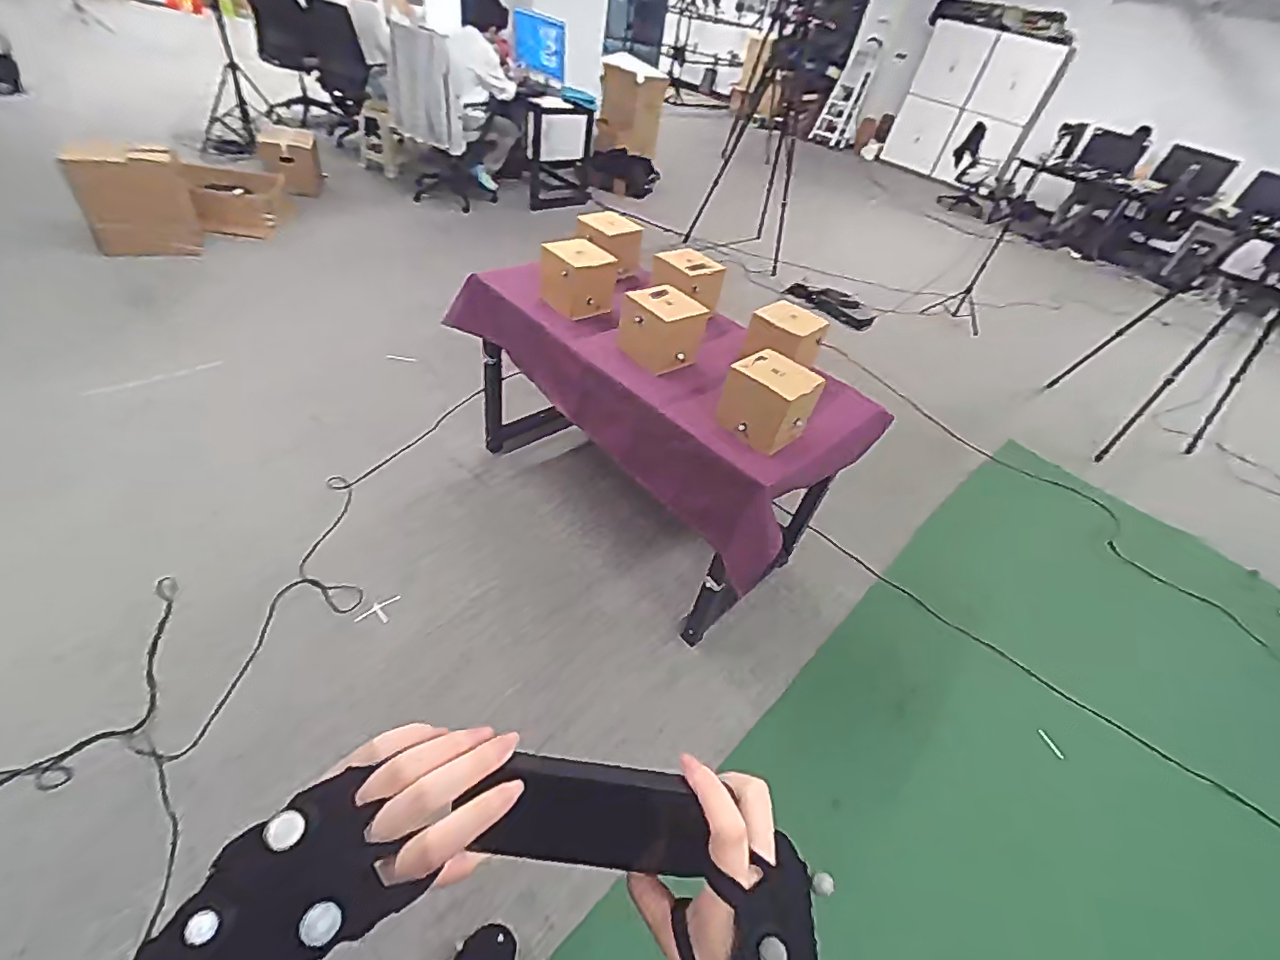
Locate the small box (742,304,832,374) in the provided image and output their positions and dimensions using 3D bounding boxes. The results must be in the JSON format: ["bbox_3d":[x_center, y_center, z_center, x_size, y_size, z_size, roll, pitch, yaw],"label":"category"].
[{"bbox_3d":[0.426,-0.392,1.590,0.168,0.176,0.179,37,47,25],"label":"small box"}]

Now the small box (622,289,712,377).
[{"bbox_3d":[0.067,-0.415,1.524,0.168,0.176,0.179,-25,55,-35],"label":"small box"}]

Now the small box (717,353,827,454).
[{"bbox_3d":[0.320,-0.184,1.336,0.179,0.176,0.168,39,47,26],"label":"small box"}]

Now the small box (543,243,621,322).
[{"bbox_3d":[-0.185,-0.611,1.673,0.168,0.176,0.179,-27,56,-36],"label":"small box"}]
